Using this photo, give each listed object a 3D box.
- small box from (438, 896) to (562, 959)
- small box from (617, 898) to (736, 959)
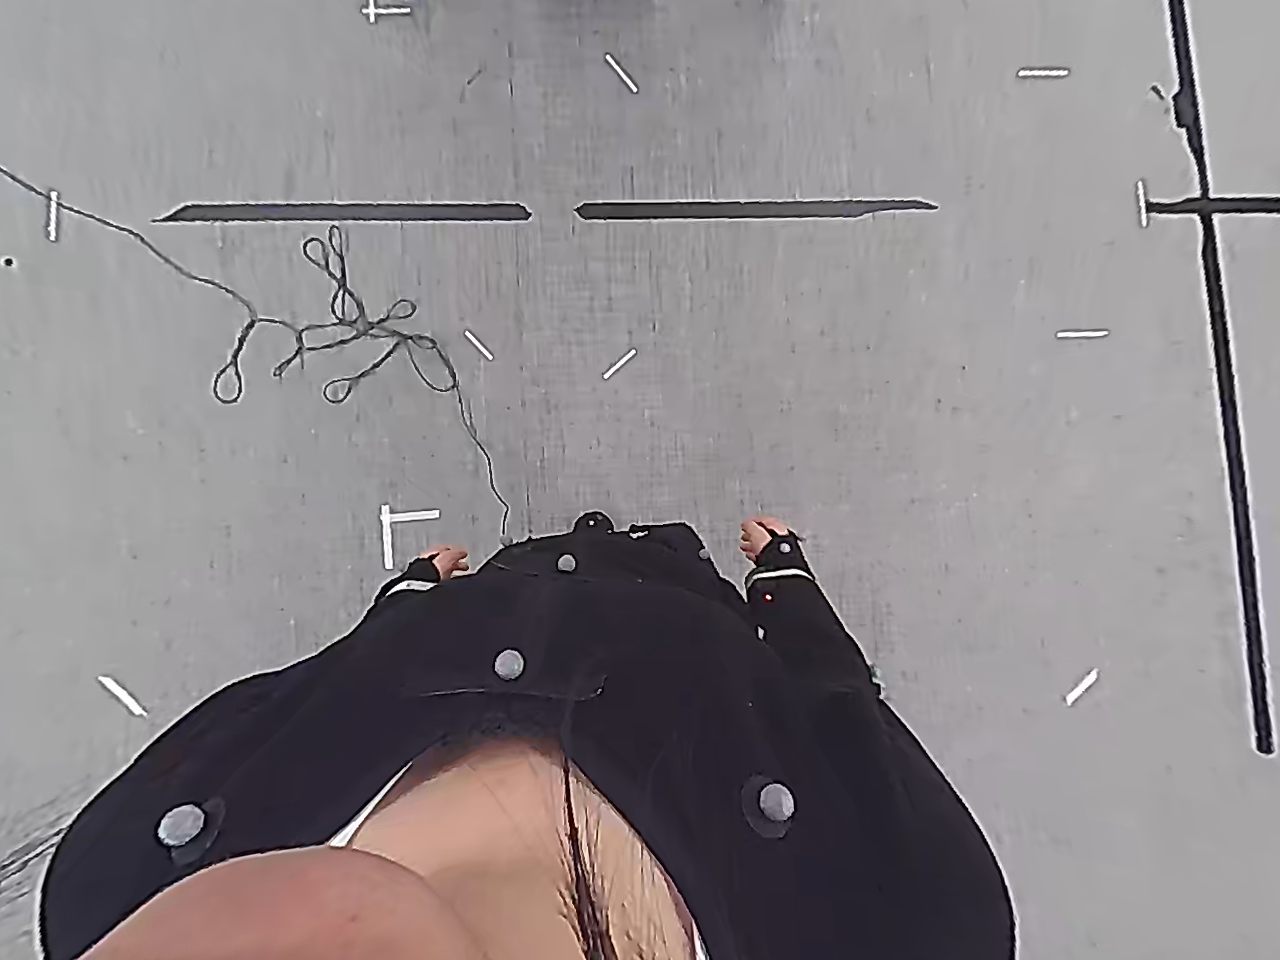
[{"bbox_3d":[-0.201,0.752,0.782,0.168,0.176,0.179,-1,85,-4],"label":"small box"},{"bbox_3d":[0.049,0.754,0.790,0.168,0.176,0.179,1,87,-2],"label":"small box"}]
